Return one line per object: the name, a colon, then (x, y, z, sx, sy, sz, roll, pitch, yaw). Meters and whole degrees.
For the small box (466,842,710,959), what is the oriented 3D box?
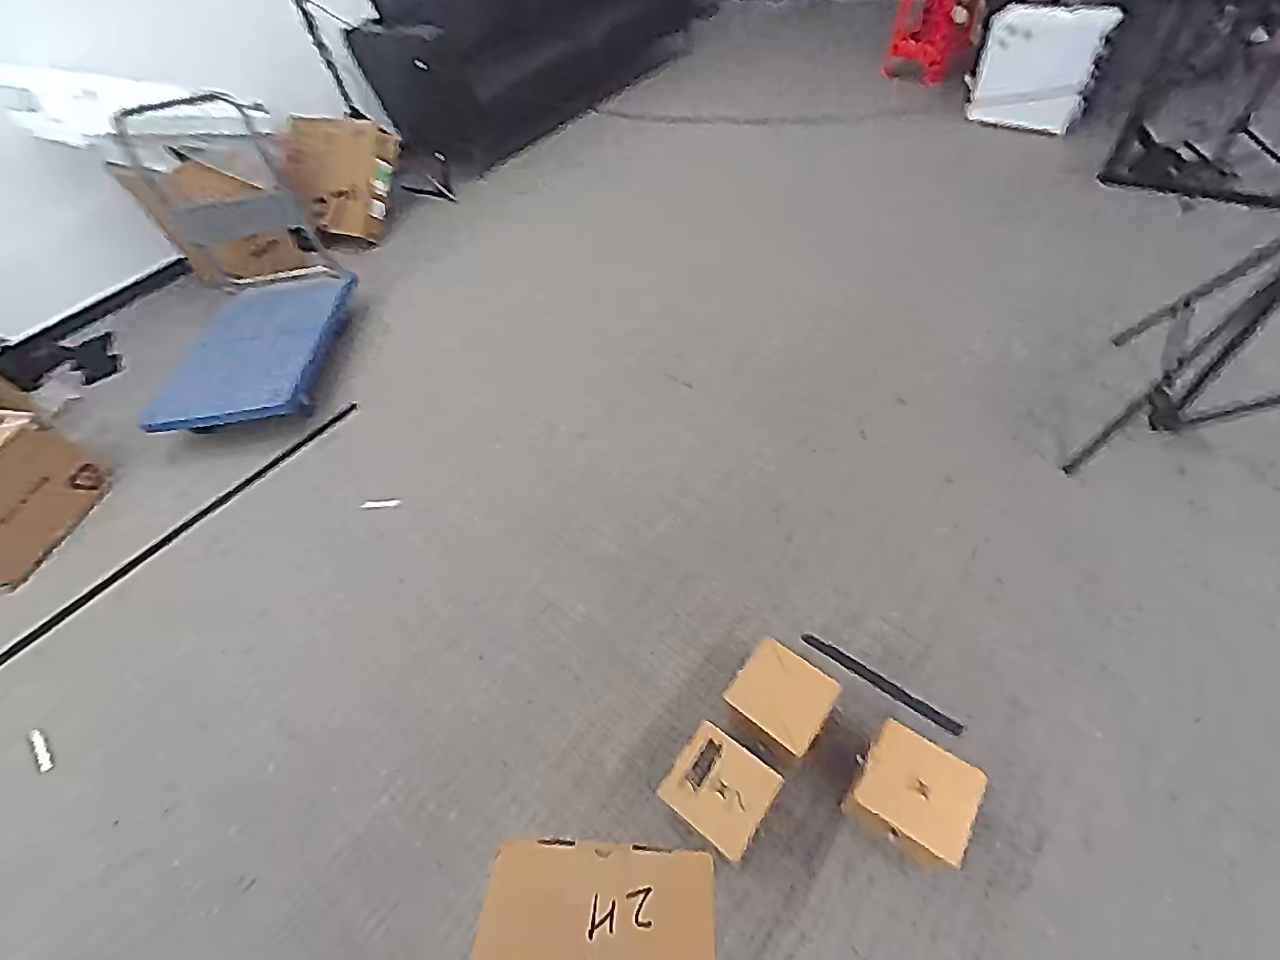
small box: (-0.031, 0.394, 0.397, 0.168, 0.176, 0.179, 0, 43, 5)

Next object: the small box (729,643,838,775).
small box: (0.300, 0.479, 1.139, 0.179, 0.176, 0.168, 31, 63, 29)
